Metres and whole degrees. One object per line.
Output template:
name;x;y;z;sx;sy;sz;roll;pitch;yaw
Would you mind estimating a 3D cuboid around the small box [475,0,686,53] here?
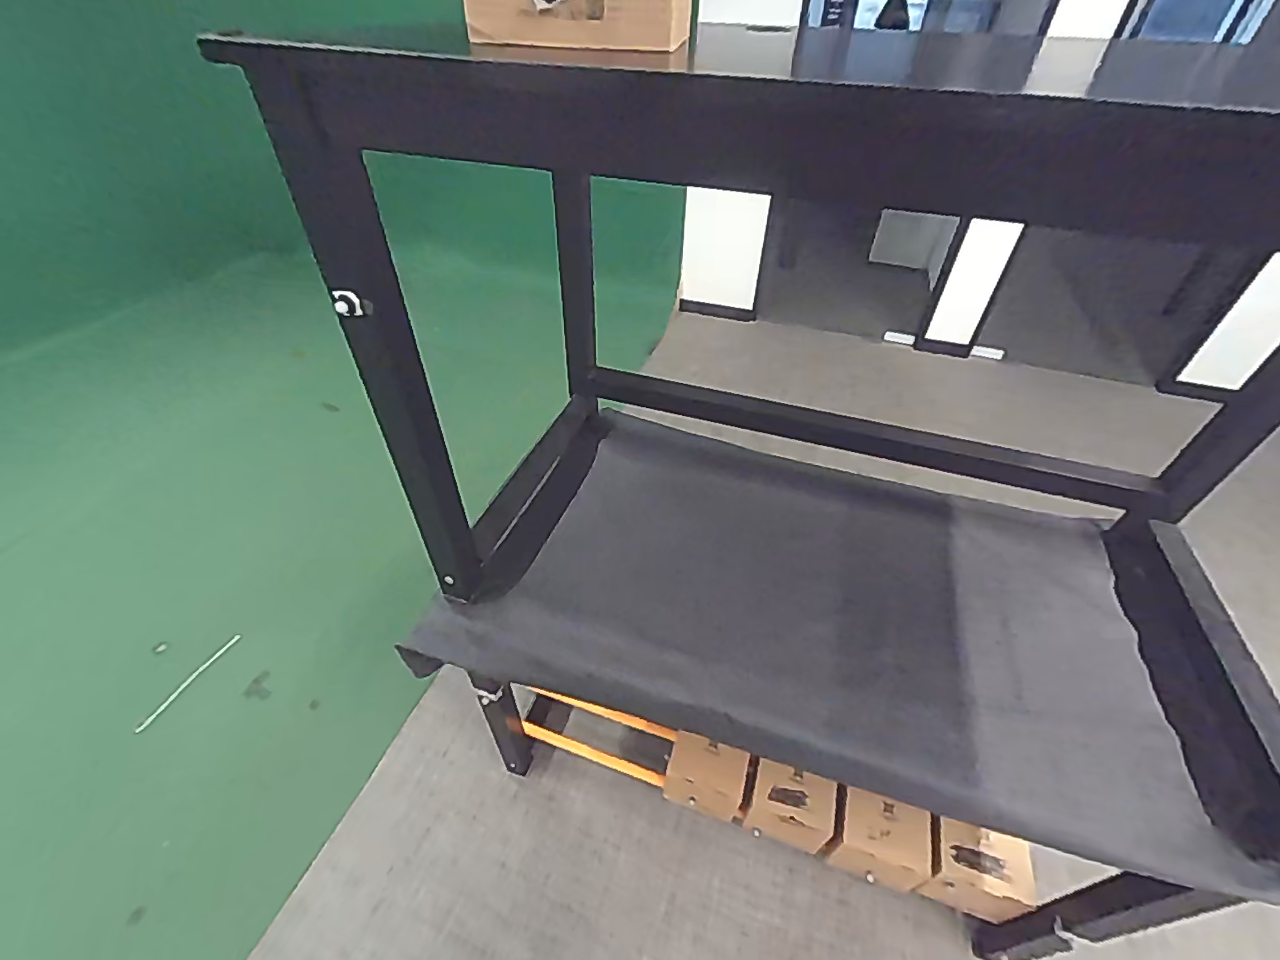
small box;-0.045;-0.464;0.437;0.168;0.176;0.179;5;43;5
